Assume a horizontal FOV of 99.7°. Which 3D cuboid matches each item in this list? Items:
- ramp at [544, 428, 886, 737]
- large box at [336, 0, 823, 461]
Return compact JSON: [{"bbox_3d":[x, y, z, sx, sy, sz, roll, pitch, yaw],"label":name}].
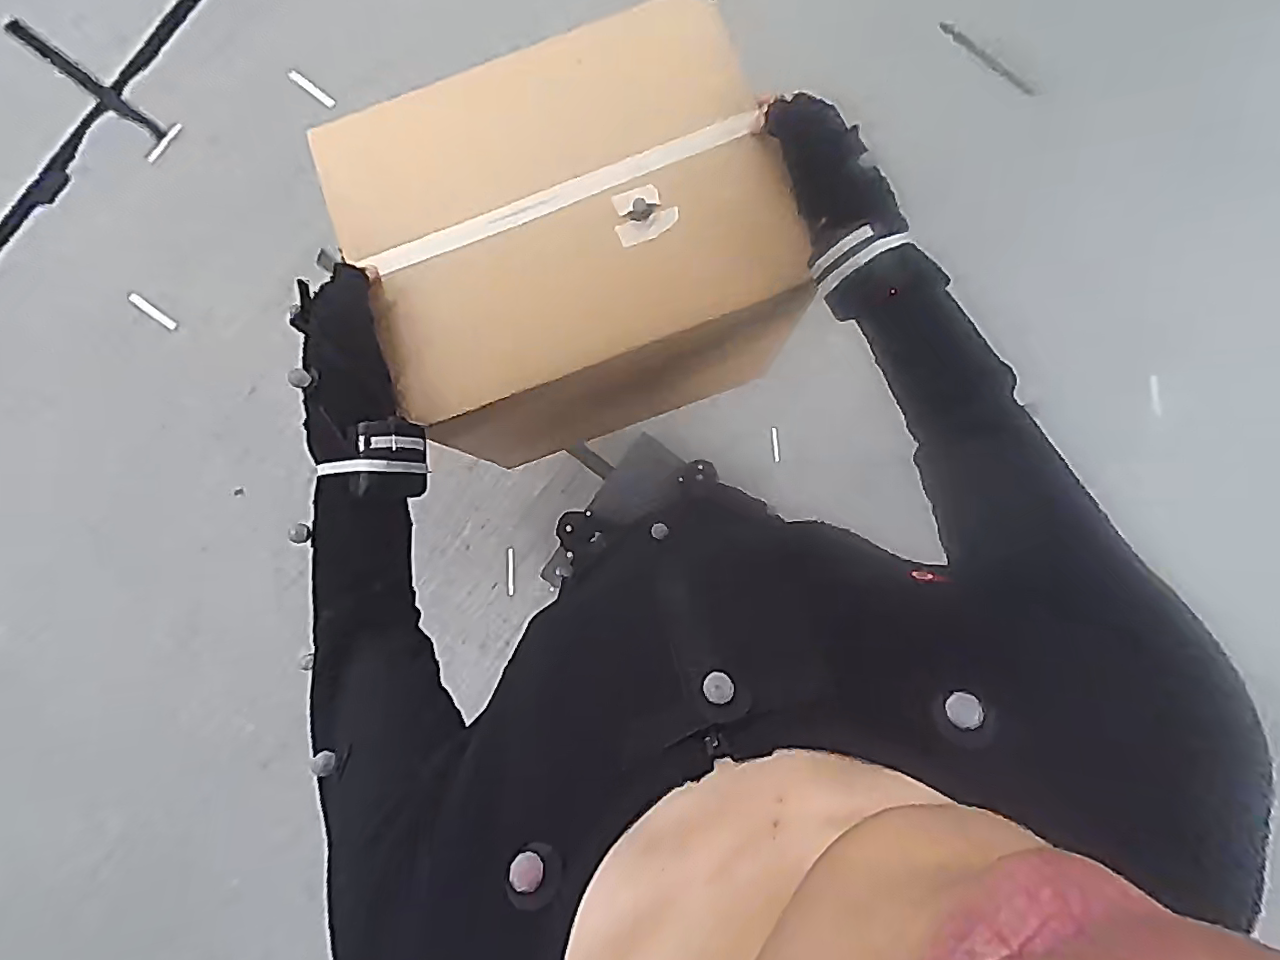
[{"bbox_3d":[0.262,0.328,1.595,0.991,0.206,0.509,34,86,-3],"label":"ramp"},{"bbox_3d":[-0.060,-0.250,0.661,0.408,0.320,0.320,-20,84,1],"label":"large box"}]
